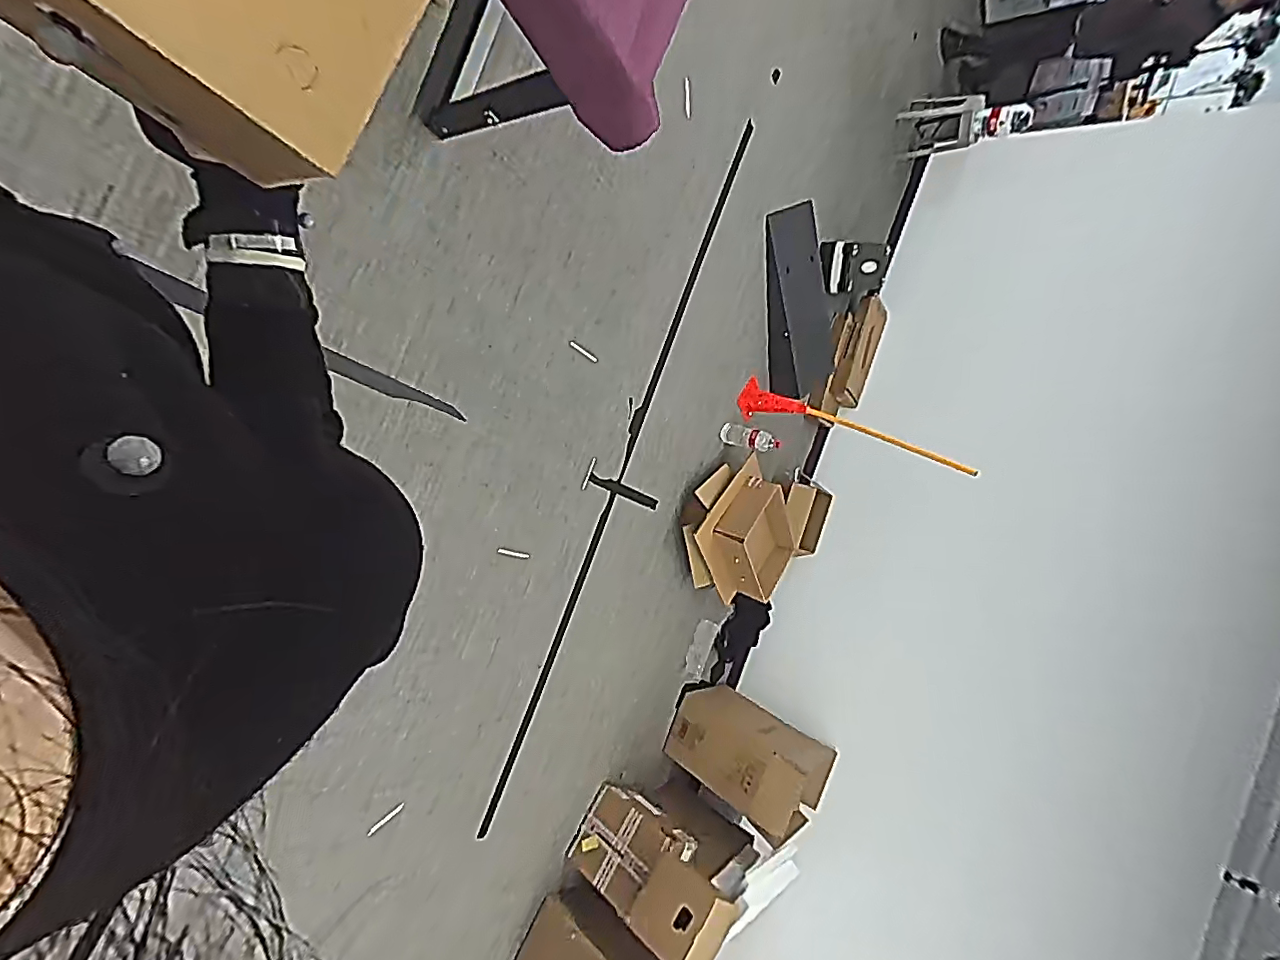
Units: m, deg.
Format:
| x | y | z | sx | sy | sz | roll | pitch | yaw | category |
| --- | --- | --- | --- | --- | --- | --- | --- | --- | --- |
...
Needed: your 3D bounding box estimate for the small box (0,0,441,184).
| x | y | z | sx | sy | sz | roll | pitch | yaw | category |
| --- | --- | --- | --- | --- | --- | --- | --- | --- | --- |
| -0.223 | -0.287 | 0.287 | 0.168 | 0.176 | 0.179 | 27 | 87 | -49 | small box |
